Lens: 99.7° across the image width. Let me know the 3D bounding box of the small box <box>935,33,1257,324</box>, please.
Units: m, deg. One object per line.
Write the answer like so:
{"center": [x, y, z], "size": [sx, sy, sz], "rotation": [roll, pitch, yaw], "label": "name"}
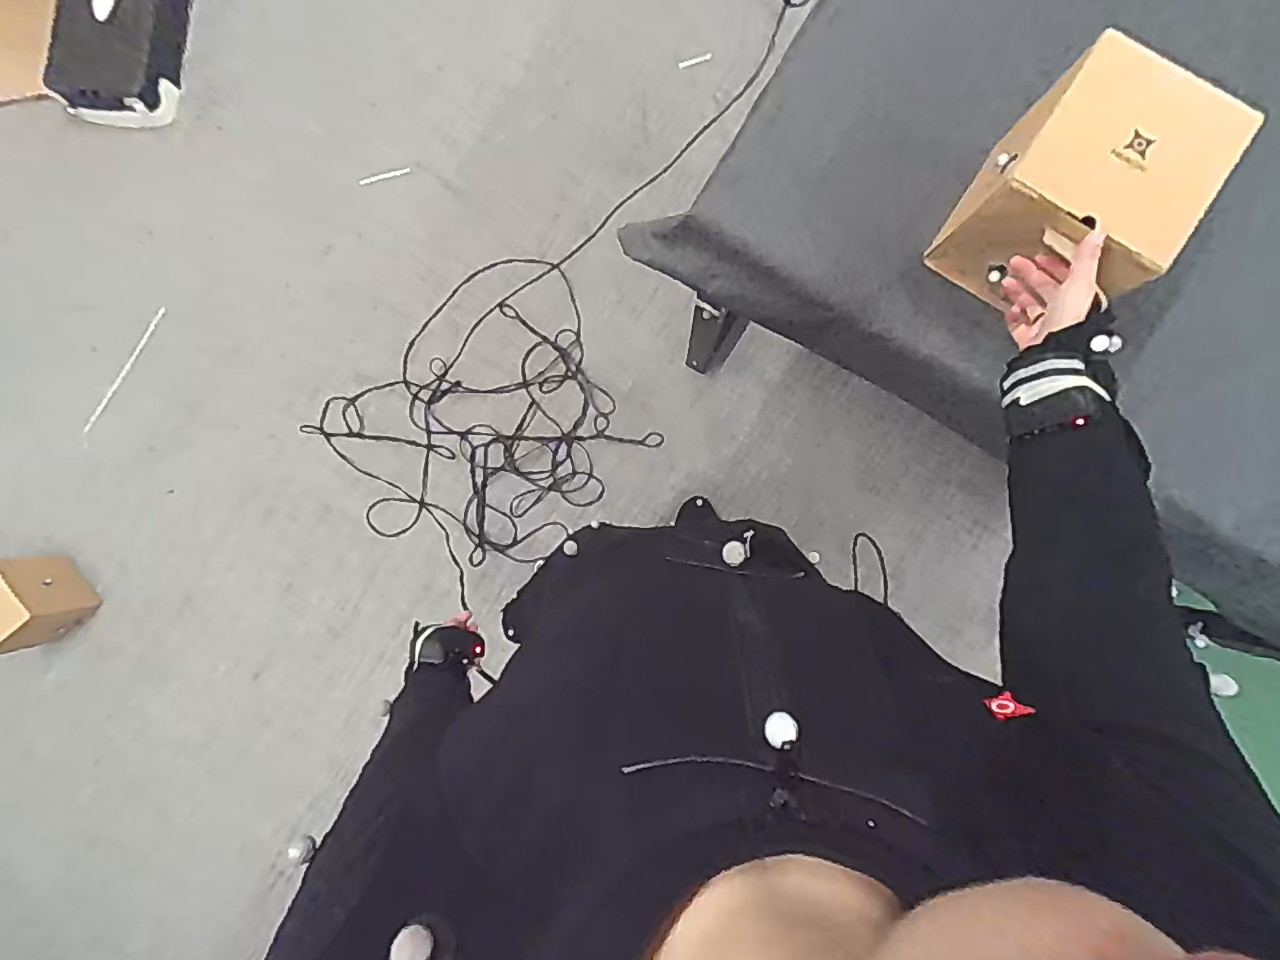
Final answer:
{"center": [0.462, -0.302, 0.582], "size": [0.168, 0.176, 0.179], "rotation": [33, 88, 2], "label": "small box"}
